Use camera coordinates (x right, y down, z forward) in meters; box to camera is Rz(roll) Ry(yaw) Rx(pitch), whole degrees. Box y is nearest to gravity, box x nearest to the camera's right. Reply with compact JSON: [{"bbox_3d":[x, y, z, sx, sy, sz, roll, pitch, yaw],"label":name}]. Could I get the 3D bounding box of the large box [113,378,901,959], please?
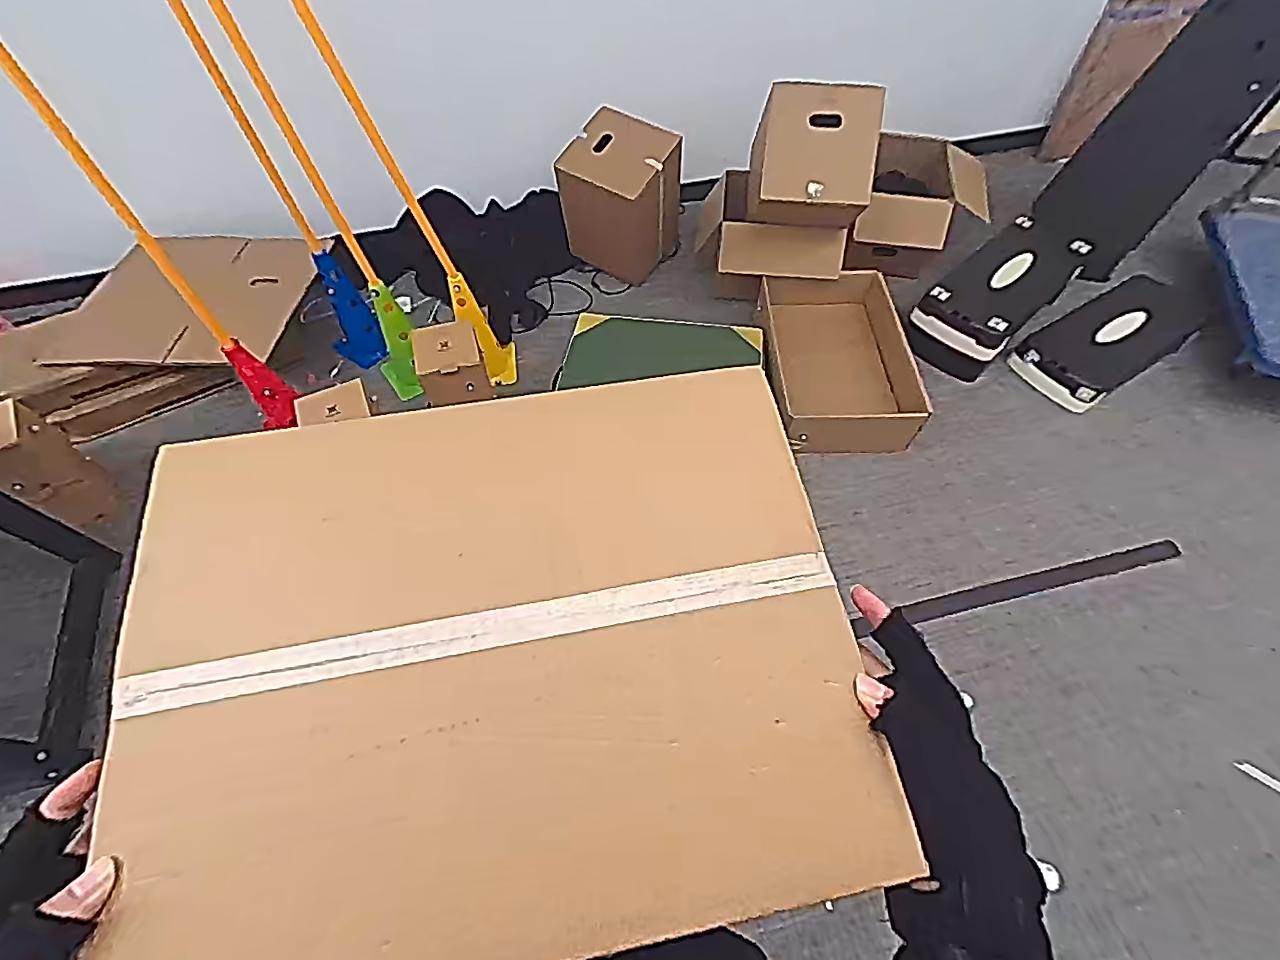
[{"bbox_3d":[-0.086,0.153,0.462,0.408,0.320,0.320,-9,68,-6],"label":"large box"}]
